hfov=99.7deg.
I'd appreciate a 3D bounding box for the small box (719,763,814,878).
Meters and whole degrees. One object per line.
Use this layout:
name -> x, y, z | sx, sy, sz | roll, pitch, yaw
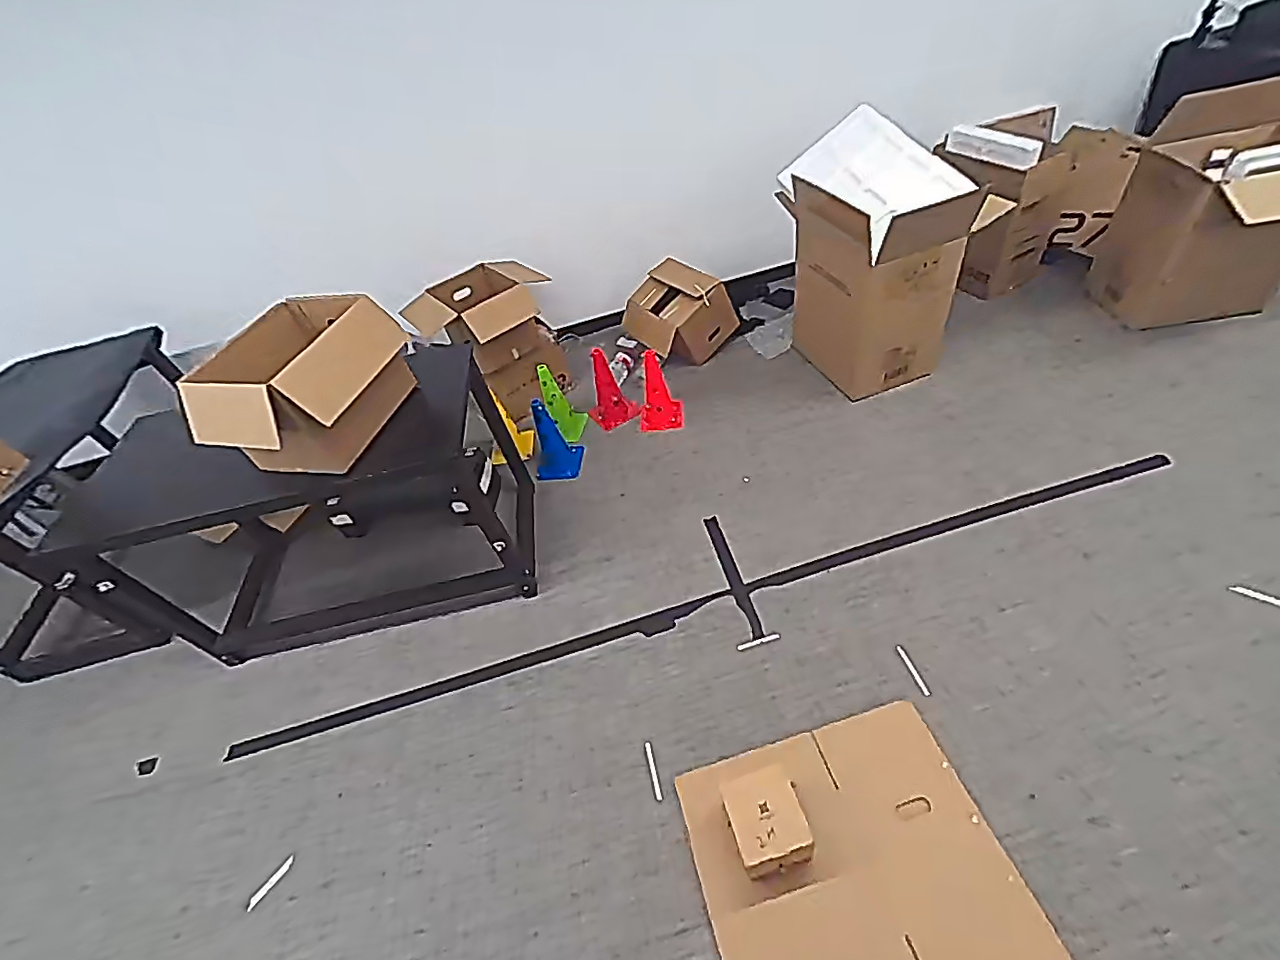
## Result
small box -> 0.299, 0.818, 1.297 | 0.168, 0.176, 0.179 | -18, 46, -3
